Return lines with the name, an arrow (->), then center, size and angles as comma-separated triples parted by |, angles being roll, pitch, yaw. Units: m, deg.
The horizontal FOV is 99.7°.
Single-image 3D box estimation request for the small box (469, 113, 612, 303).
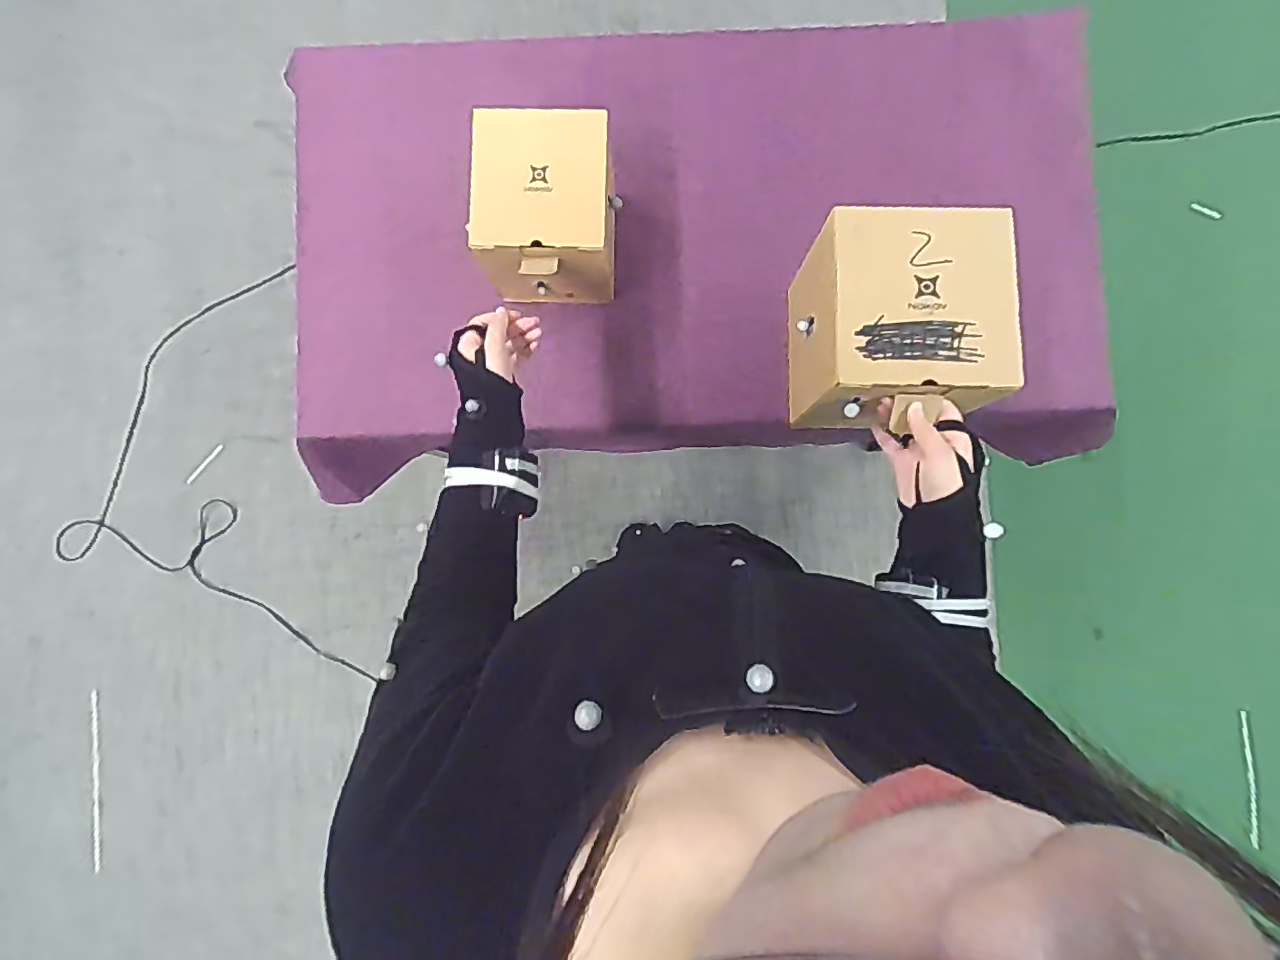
small box -> -0.126, -0.364, 0.747 | 0.168, 0.176, 0.179 | 1, 87, 0
